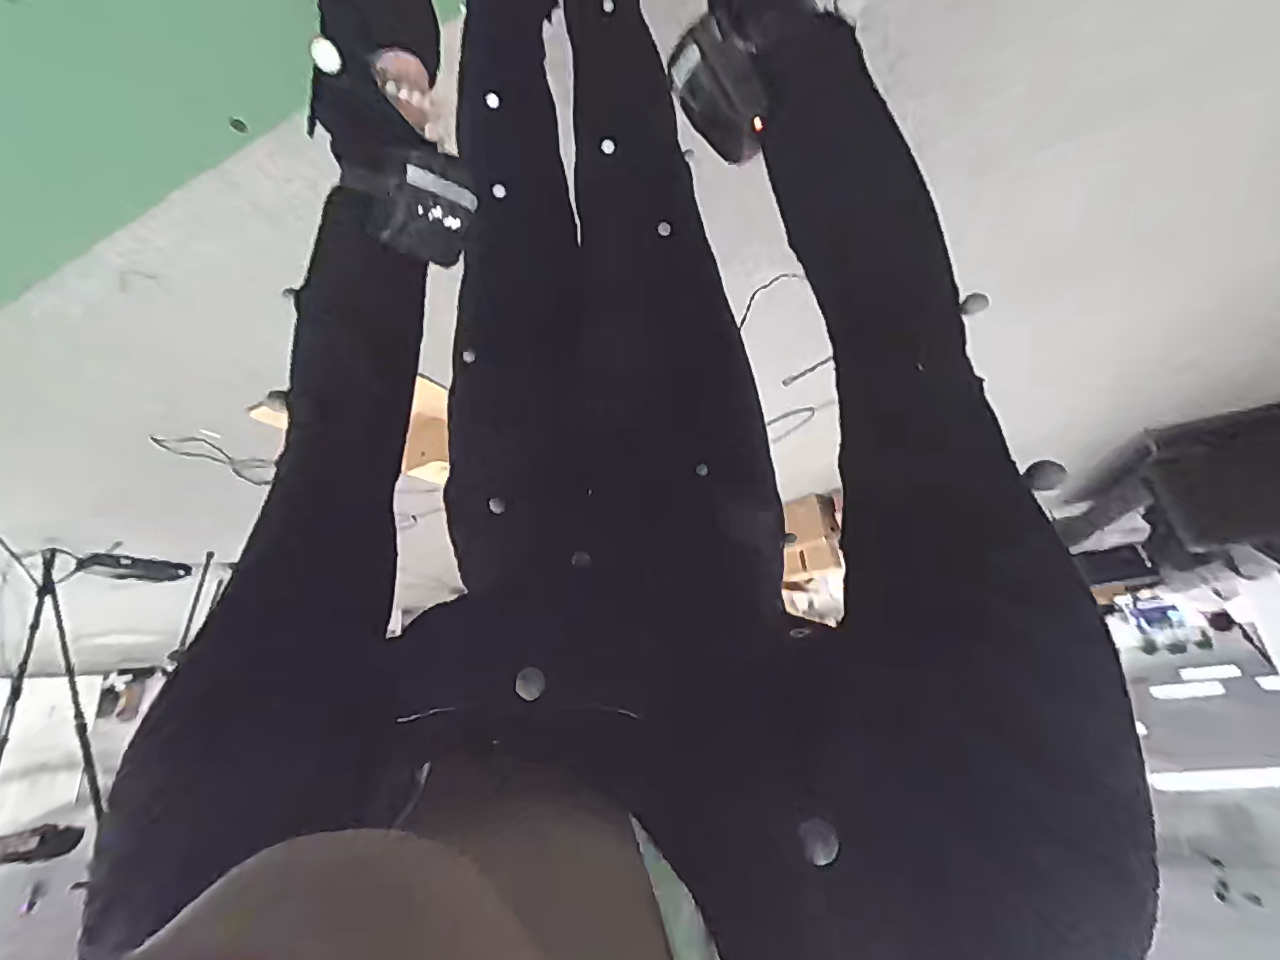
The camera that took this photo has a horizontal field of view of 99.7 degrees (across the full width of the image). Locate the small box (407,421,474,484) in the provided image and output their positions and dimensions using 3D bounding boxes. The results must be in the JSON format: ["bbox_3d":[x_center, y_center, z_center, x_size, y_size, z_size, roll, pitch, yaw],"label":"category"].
[{"bbox_3d":[-0.744,-0.102,2.008,0.179,0.176,0.168,-17,159,27],"label":"small box"}]
